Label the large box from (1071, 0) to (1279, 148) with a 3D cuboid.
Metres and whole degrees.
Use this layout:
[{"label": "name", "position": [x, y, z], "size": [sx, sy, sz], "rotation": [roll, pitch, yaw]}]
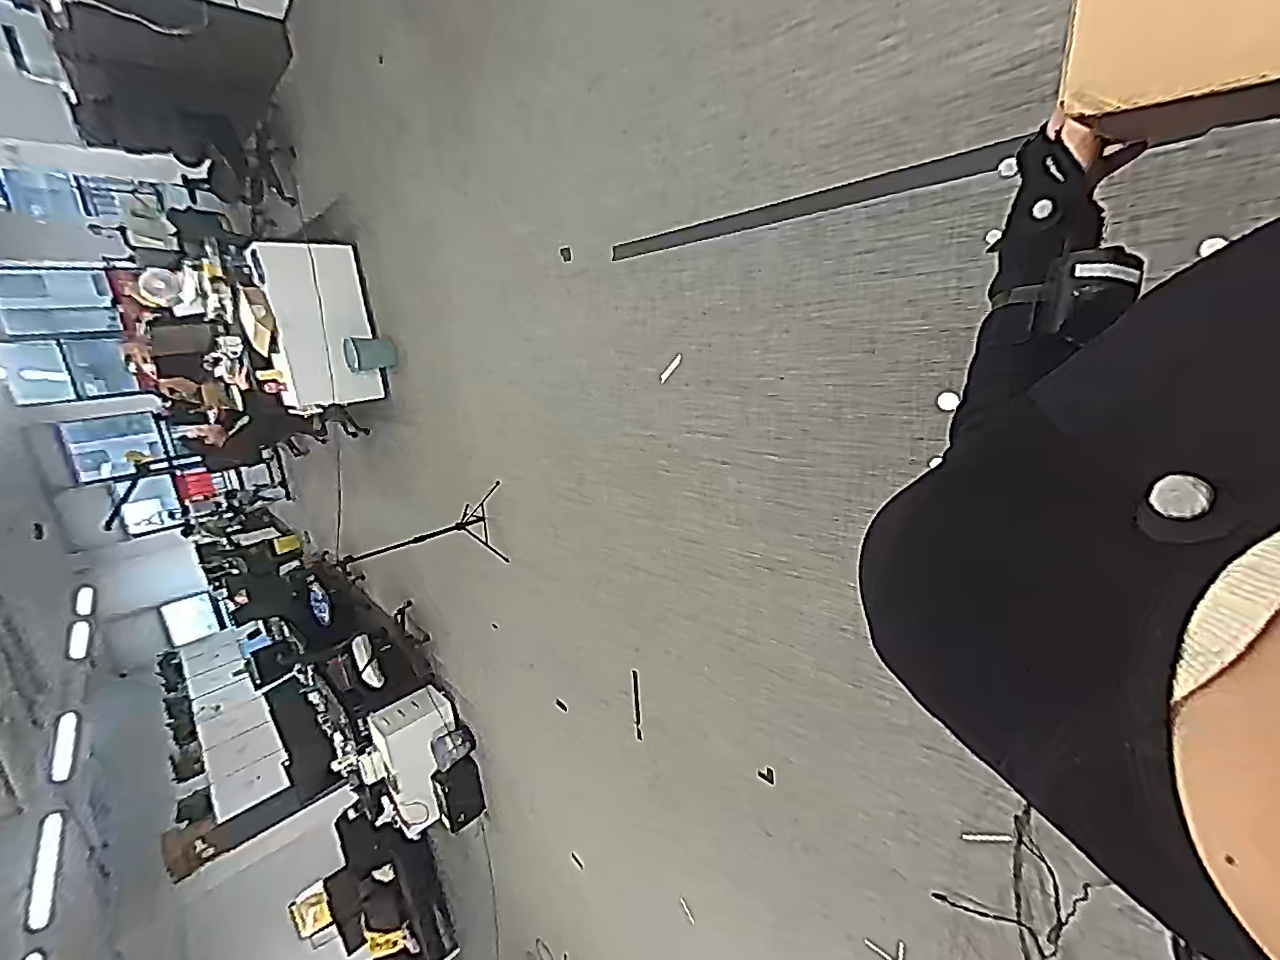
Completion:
[{"label": "large box", "position": [0.413, -0.325, 0.161], "size": [0.408, 0.320, 0.320], "rotation": [12, 121, 39]}]
